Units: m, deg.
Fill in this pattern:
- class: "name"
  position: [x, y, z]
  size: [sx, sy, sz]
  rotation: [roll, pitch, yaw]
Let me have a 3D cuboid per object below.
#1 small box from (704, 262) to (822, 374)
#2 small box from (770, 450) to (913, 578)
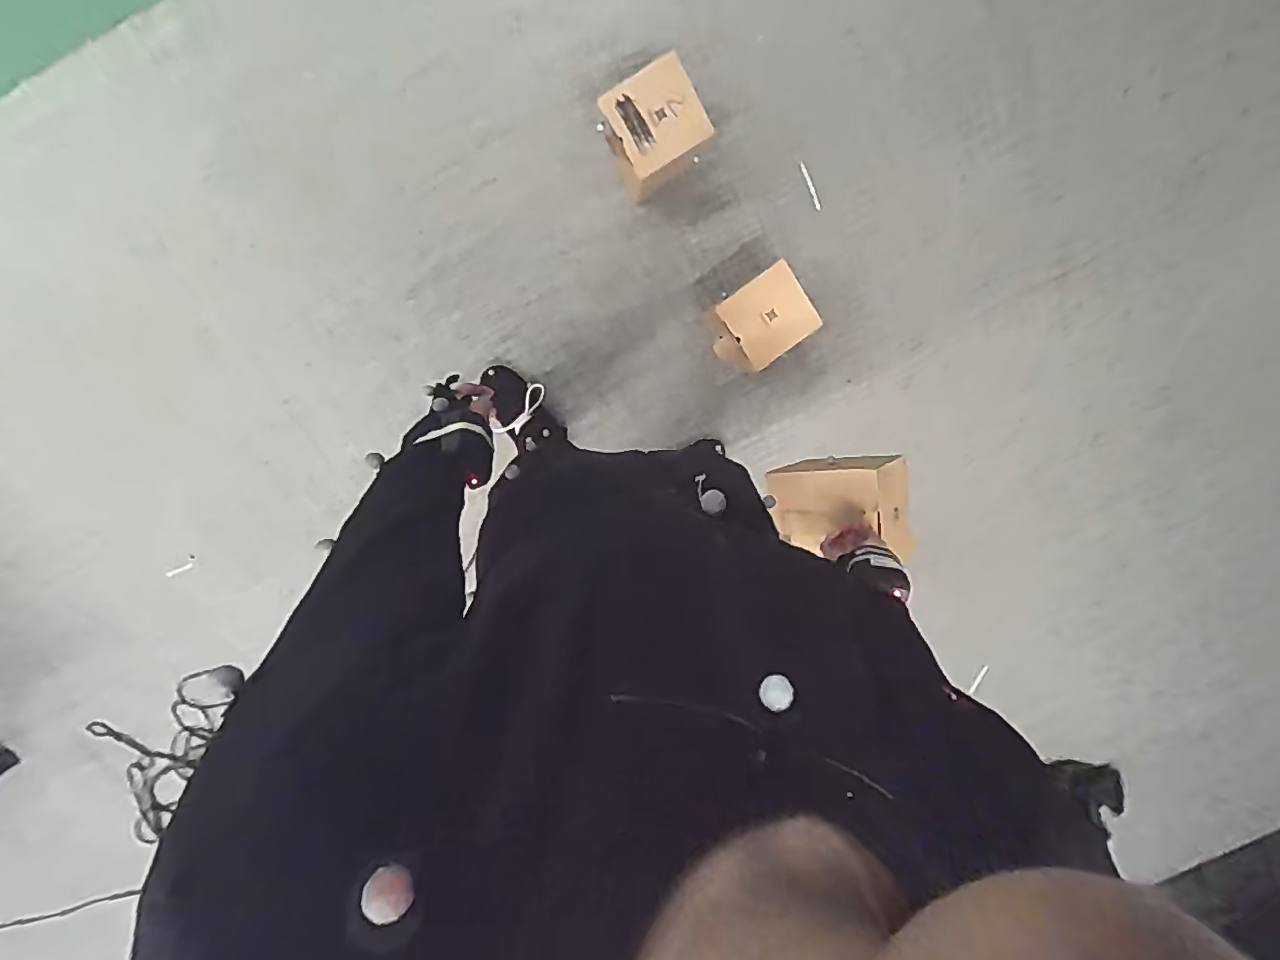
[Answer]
- class: "small box"
  position: [0.267, -0.357, 1.213]
  size: [0.179, 0.176, 0.168]
  rotation: [-36, 102, 5]
- class: "small box"
  position: [0.312, 0.049, 0.848]
  size: [0.176, 0.179, 0.168]
  rotation: [-3, 97, 38]
